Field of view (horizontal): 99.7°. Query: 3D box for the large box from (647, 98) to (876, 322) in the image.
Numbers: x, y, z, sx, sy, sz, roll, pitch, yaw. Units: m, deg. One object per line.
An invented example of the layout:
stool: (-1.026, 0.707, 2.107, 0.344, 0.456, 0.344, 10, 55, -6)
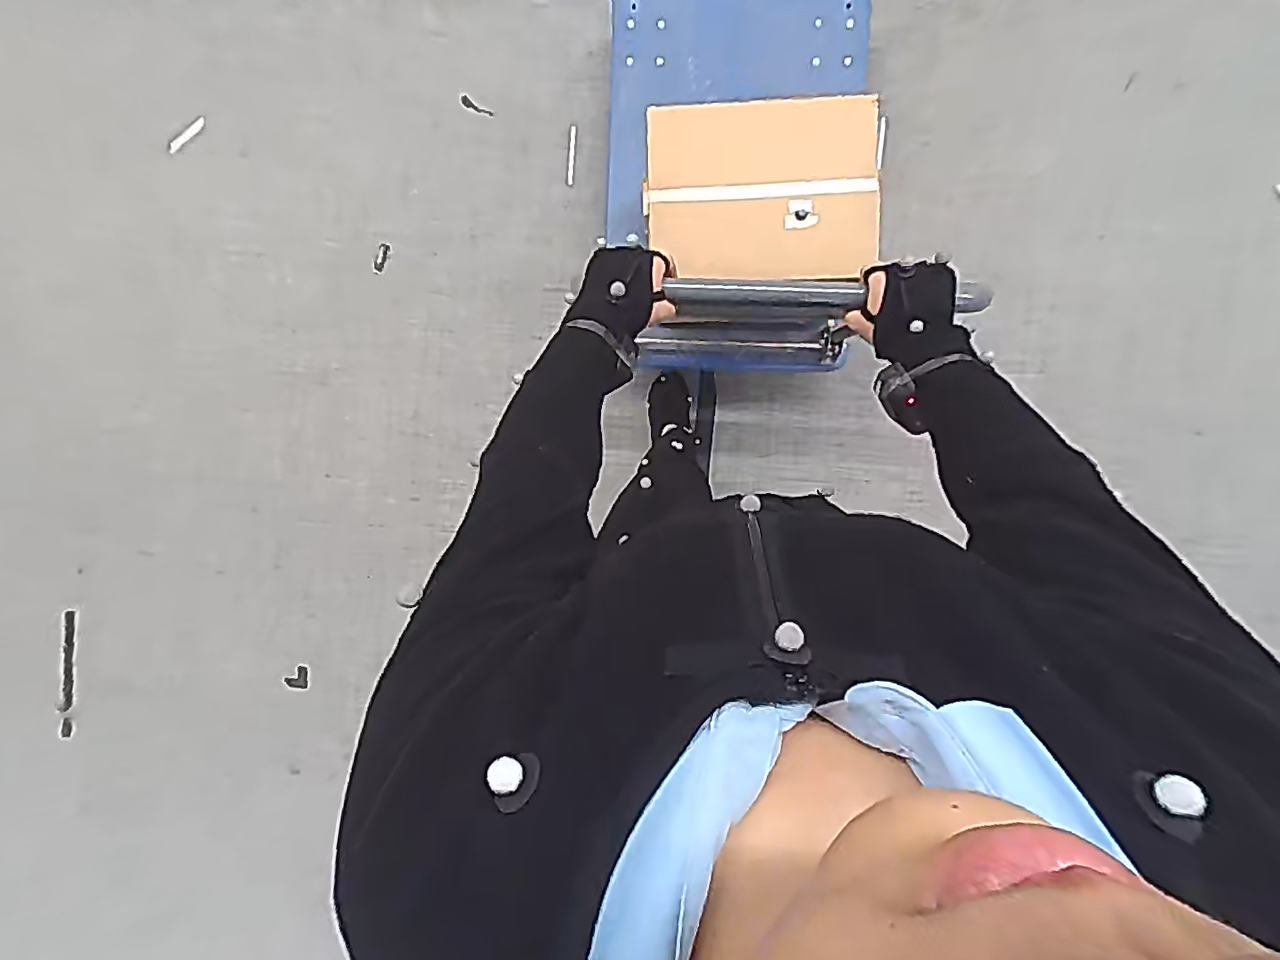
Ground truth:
large box: (0.224, -0.525, 1.119, 0.408, 0.320, 0.320, -1, 94, 2)
